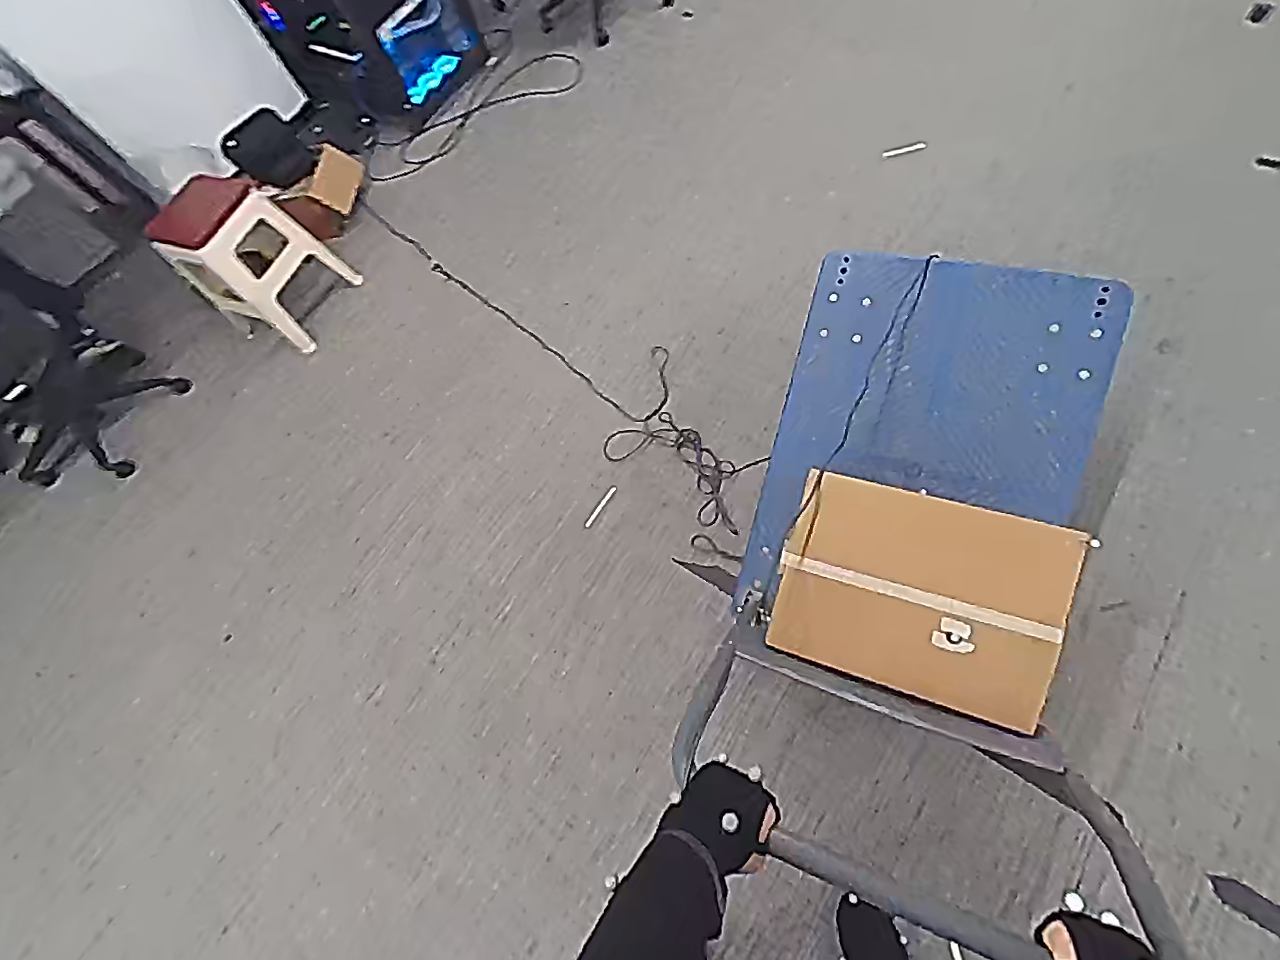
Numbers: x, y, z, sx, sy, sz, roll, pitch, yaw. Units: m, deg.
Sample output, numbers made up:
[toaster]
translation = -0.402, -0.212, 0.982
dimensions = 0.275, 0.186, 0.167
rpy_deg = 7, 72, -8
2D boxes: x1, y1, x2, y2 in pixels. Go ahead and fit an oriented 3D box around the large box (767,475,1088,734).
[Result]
[large box]
translation = 0.473, 0.187, 0.987
dimensions = 0.408, 0.320, 0.320
rpy_deg = 15, 94, 18
